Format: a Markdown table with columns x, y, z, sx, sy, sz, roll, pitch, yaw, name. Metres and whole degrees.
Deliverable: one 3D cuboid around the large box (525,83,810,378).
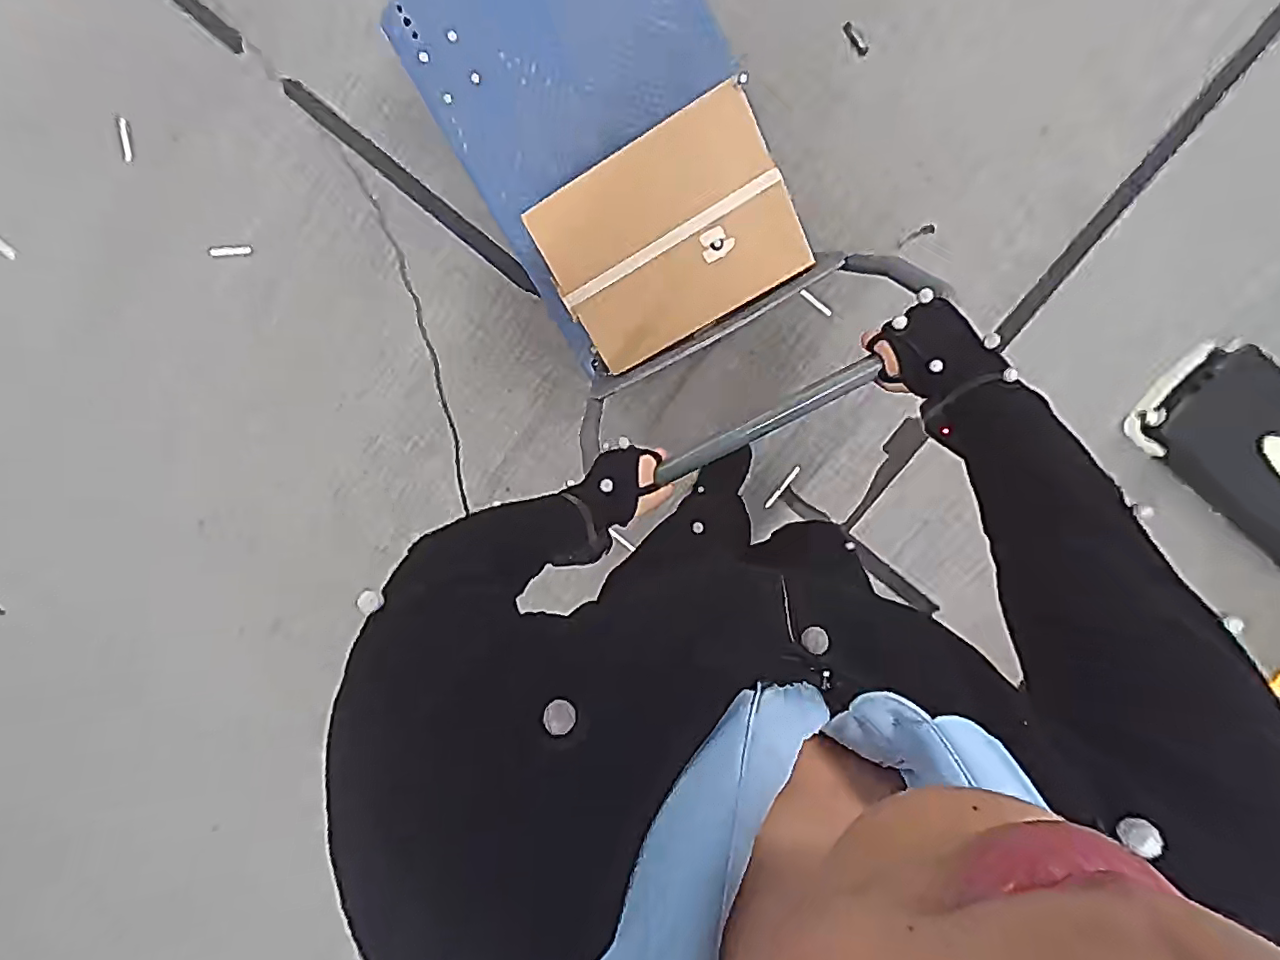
| x | y | z | sx | sy | sz | roll | pitch | yaw | name |
| --- | --- | --- | --- | --- | --- | --- | --- | --- | --- |
| 0.048 | -0.452 | 1.057 | 0.408 | 0.320 | 0.320 | -28 | 108 | 10 | large box |
